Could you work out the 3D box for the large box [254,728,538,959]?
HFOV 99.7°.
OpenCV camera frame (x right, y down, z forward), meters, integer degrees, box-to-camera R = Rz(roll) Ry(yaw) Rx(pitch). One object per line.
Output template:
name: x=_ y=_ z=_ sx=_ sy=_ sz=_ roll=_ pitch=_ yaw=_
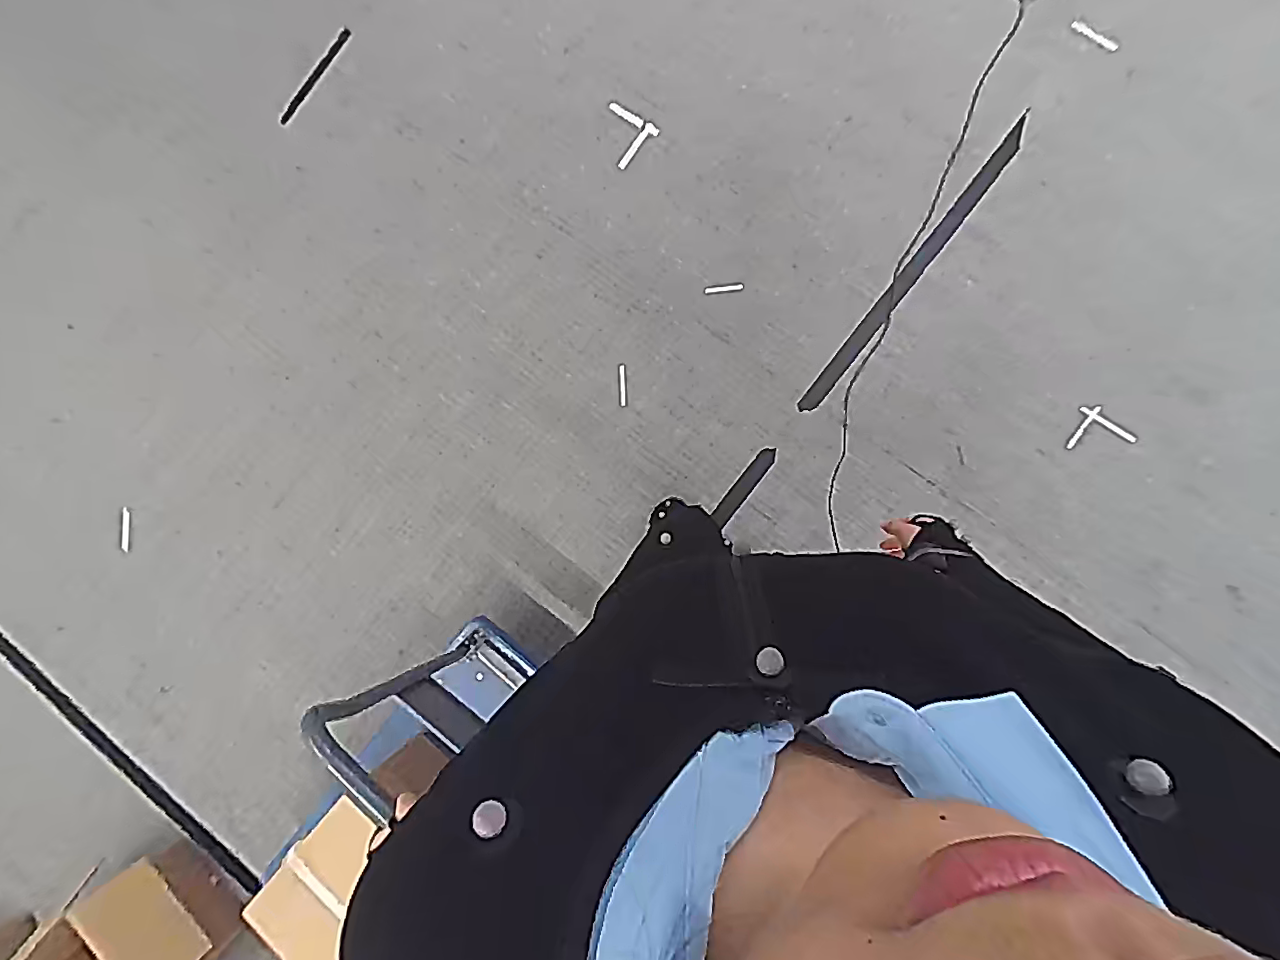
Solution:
large box: x=-0.501 y=0.843 z=1.187 sx=0.408 sy=0.320 sz=0.320 roll=41 pitch=91 yaw=6
